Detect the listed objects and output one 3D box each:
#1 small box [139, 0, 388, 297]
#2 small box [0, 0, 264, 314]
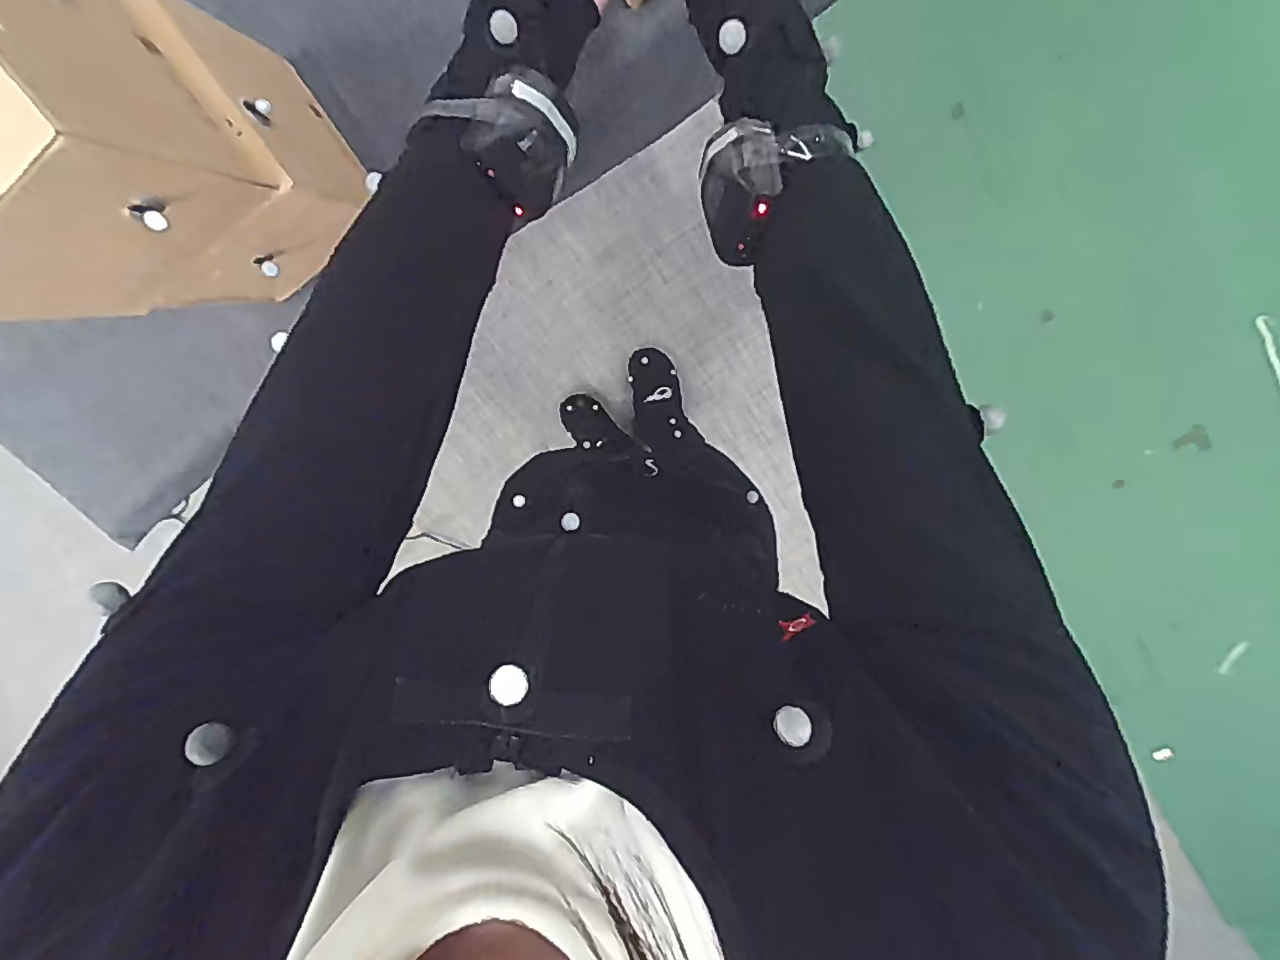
[{"bbox_3d":[-0.384,-0.289,0.512,0.179,0.176,0.168,-29,105,13],"label":"small box"},{"bbox_3d":[-0.403,-0.231,0.360,0.179,0.176,0.168,-32,103,14],"label":"small box"}]
